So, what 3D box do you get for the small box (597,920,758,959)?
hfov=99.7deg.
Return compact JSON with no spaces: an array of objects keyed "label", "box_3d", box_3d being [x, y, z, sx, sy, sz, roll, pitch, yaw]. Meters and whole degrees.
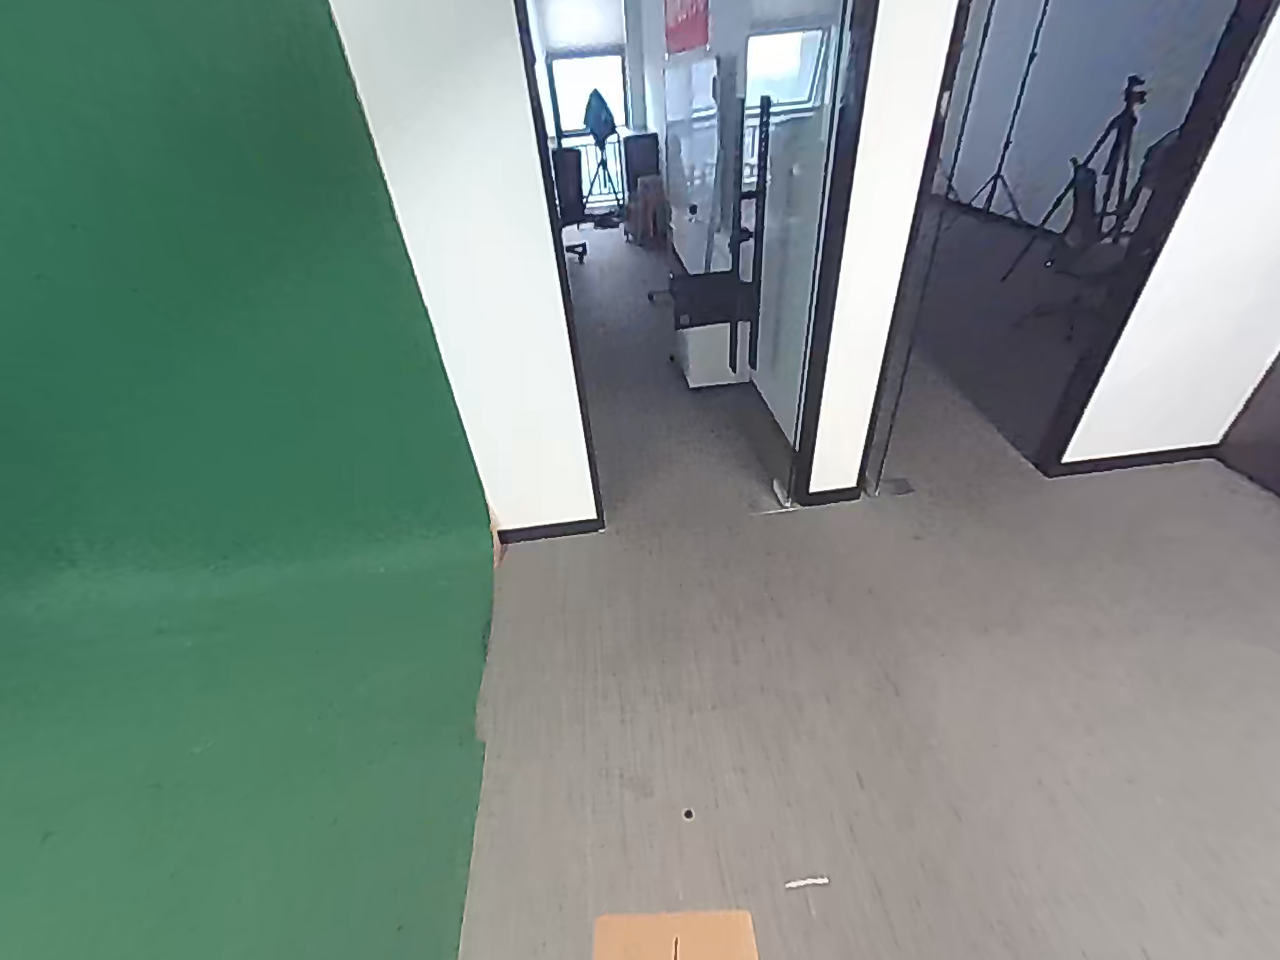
[{"label":"small box","box_3d":[0.040,0.579,0.539,0.168,0.176,0.179,-1,32,0]}]
